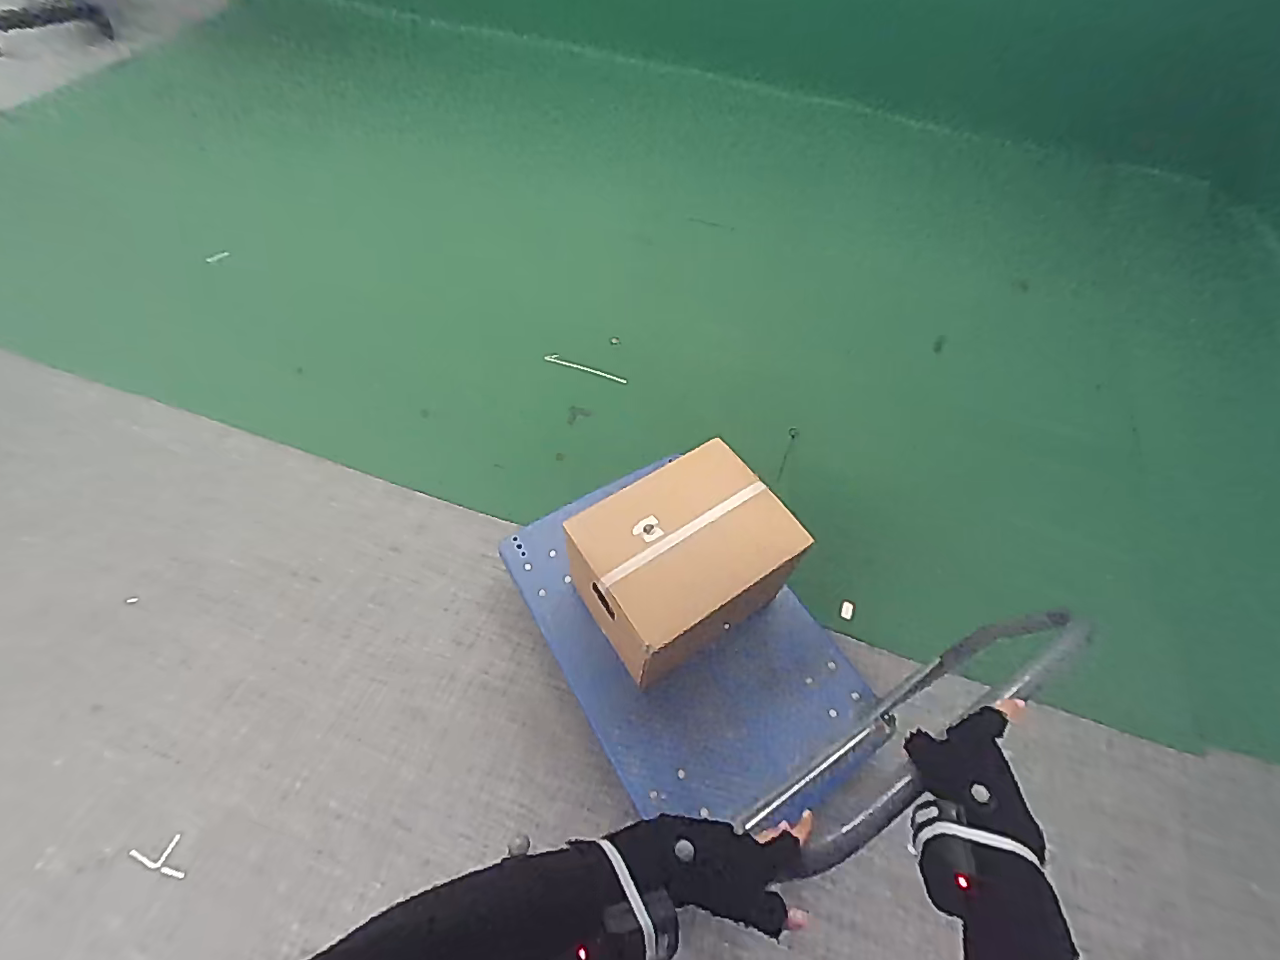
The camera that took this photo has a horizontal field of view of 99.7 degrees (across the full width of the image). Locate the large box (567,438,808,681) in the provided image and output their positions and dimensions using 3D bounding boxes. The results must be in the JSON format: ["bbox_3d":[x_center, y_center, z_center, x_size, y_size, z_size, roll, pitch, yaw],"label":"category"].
[{"bbox_3d":[0.093,0.181,1.214,0.408,0.320,0.320,-29,63,-19],"label":"large box"}]
